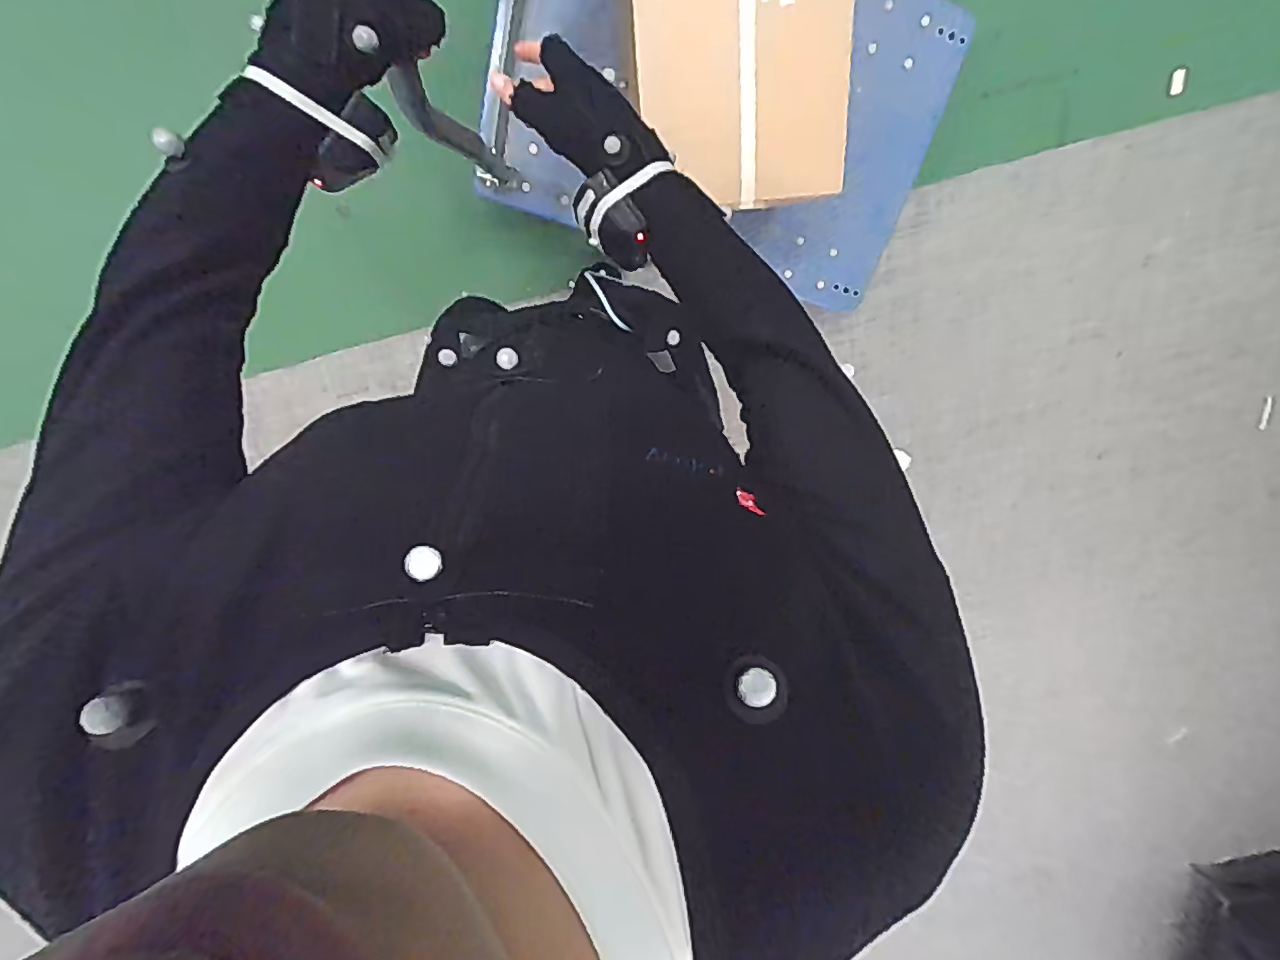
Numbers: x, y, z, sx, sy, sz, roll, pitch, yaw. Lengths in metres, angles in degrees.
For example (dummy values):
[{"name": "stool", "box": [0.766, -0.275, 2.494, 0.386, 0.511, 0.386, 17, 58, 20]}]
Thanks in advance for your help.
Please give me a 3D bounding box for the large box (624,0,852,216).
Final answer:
[{"name": "large box", "box": [0.142, -0.687, 0.907, 0.320, 0.320, 0.408, -6, 113, -2]}]
